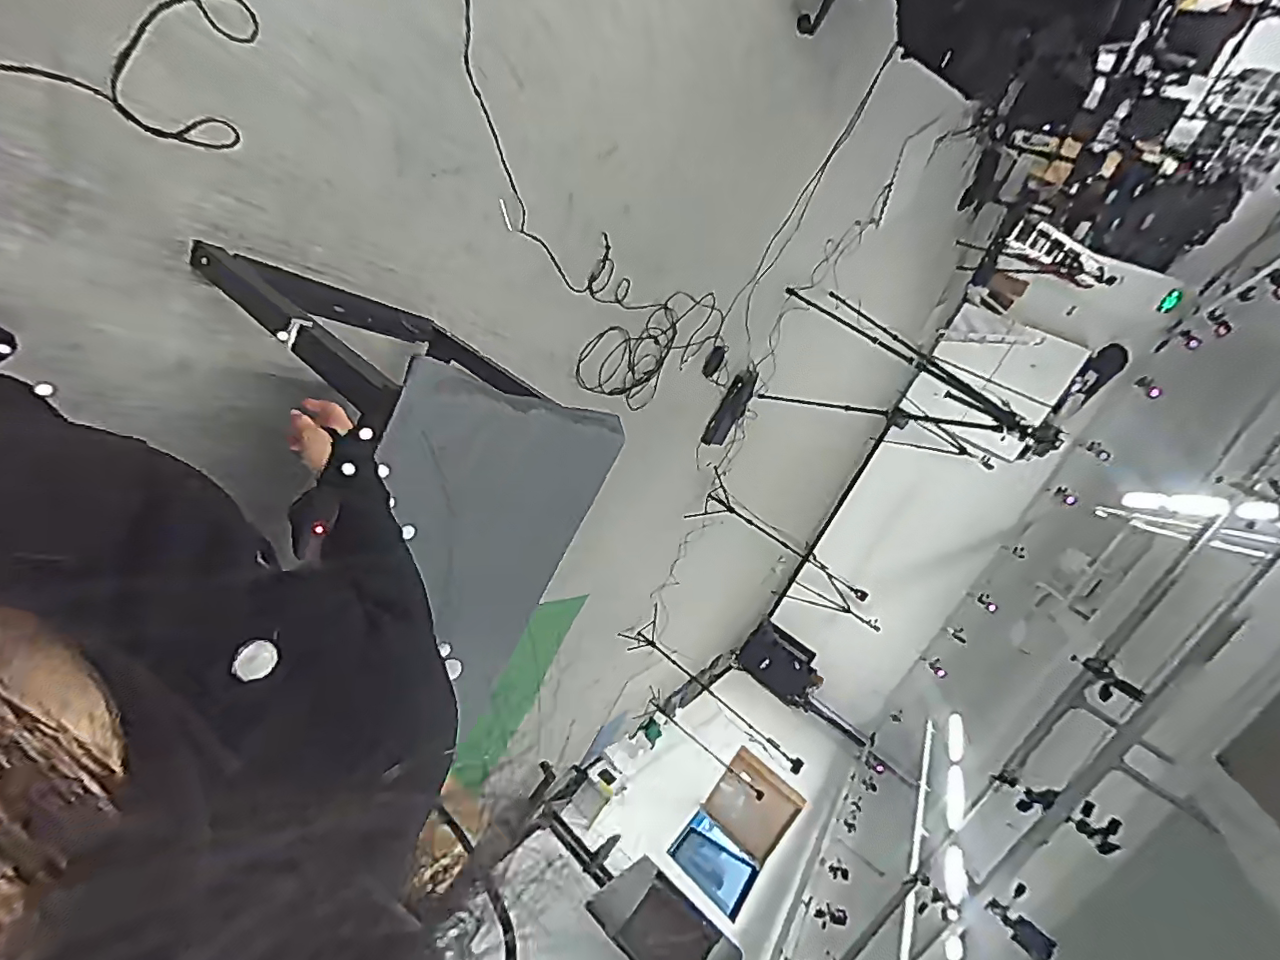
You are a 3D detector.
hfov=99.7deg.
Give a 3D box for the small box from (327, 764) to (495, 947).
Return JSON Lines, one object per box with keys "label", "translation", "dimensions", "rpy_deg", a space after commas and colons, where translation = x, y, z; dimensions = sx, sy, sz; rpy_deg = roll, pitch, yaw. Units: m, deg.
{"label": "small box", "translation": [-0.401, 0.640, 0.952], "dimensions": [0.168, 0.176, 0.179], "rpy_deg": [-60, 153, 5]}
